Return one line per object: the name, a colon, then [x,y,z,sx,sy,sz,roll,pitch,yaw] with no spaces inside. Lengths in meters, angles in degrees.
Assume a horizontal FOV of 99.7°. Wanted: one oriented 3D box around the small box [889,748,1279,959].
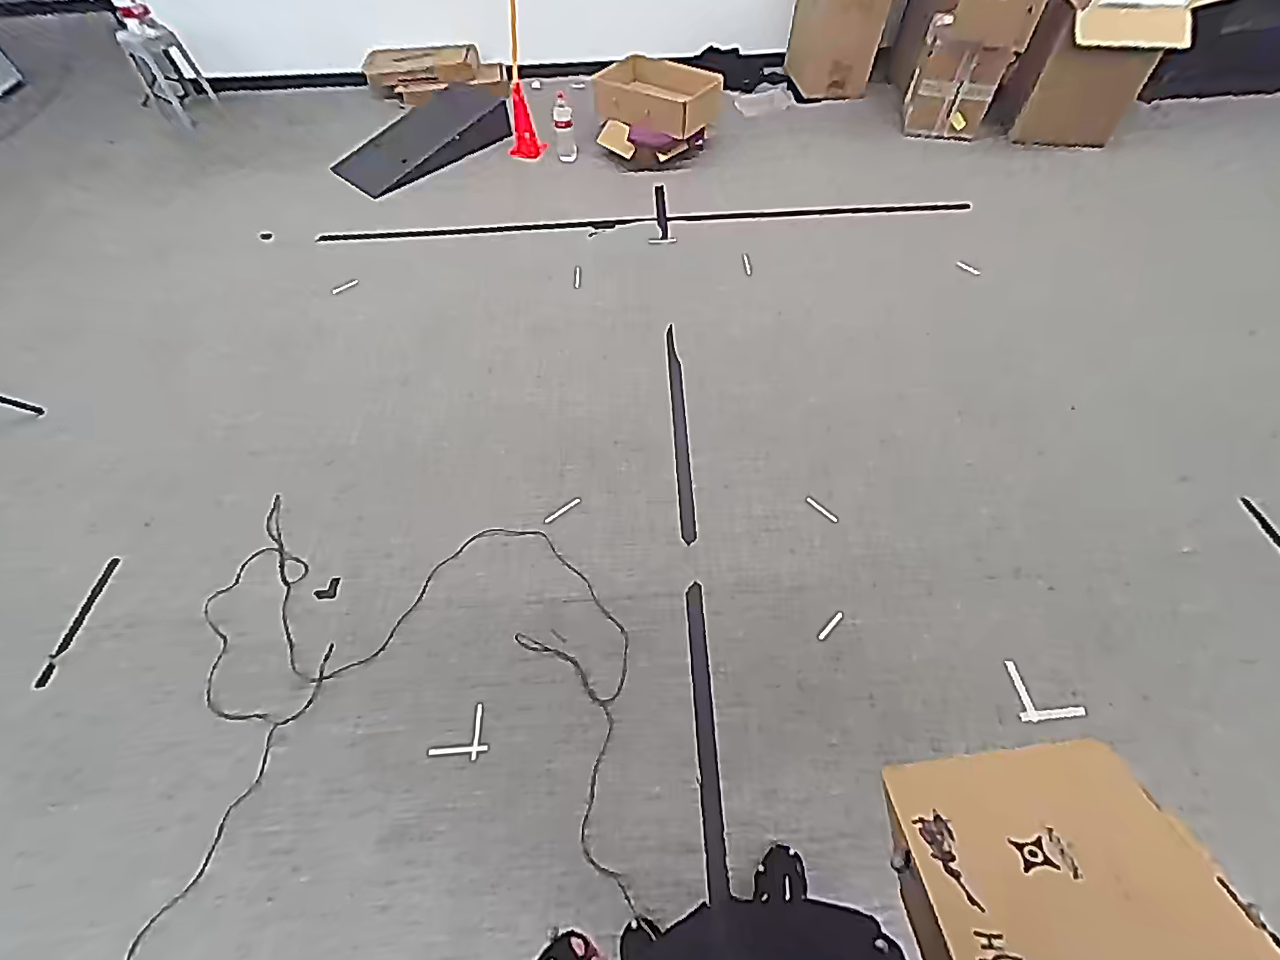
small box: [0.313,0.342,0.414,0.179,0.176,0.168,-13,20,10]
